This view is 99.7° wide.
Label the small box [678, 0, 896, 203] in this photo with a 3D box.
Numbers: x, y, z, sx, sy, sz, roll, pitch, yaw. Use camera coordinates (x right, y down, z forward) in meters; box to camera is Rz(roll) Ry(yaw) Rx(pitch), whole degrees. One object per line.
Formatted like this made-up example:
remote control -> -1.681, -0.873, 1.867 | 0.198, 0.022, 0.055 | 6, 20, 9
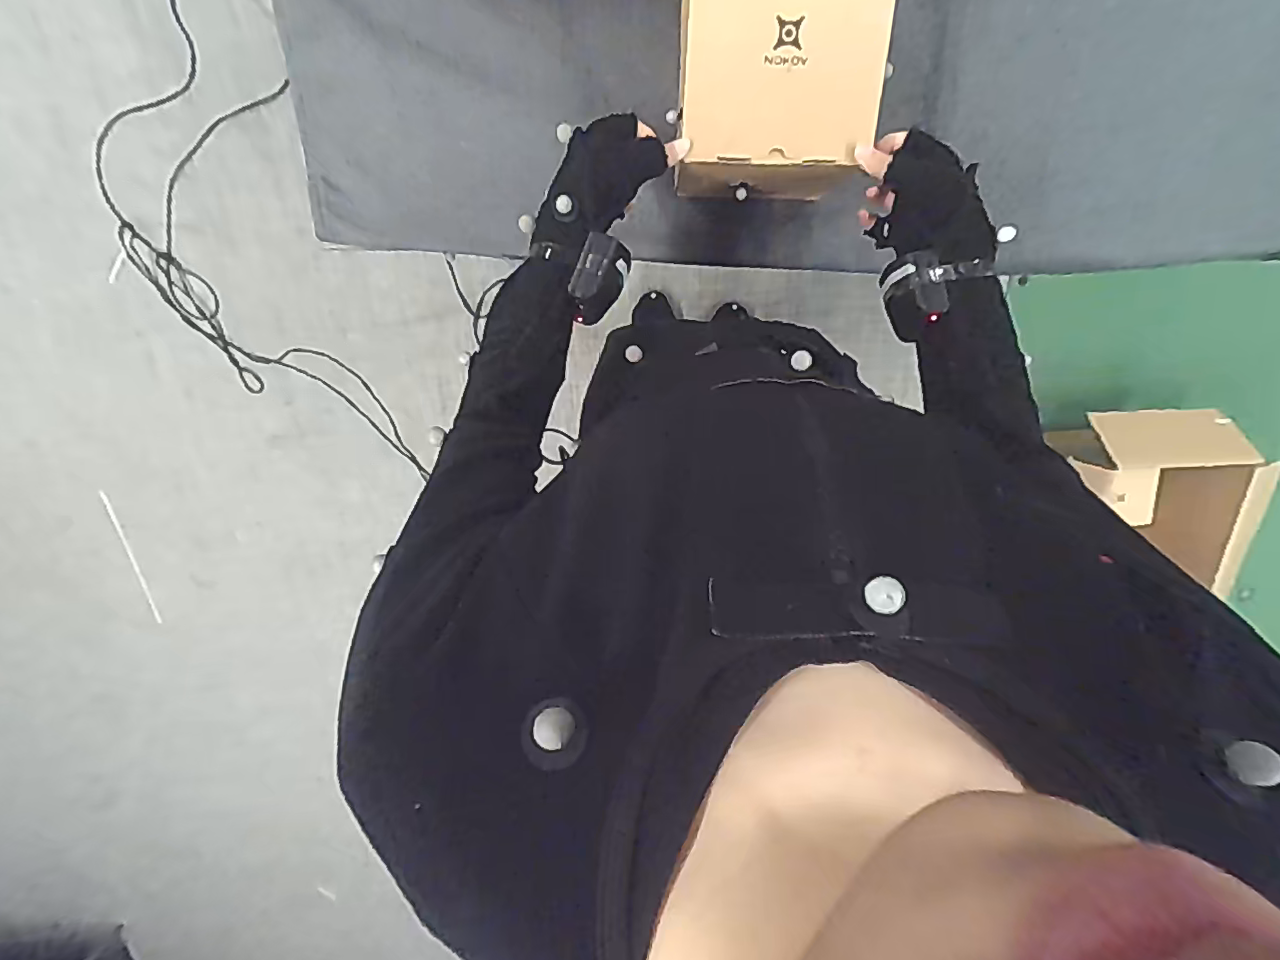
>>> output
small box -> 0.125, -0.381, 0.522 | 0.168, 0.176, 0.179 | 2, 109, 2
